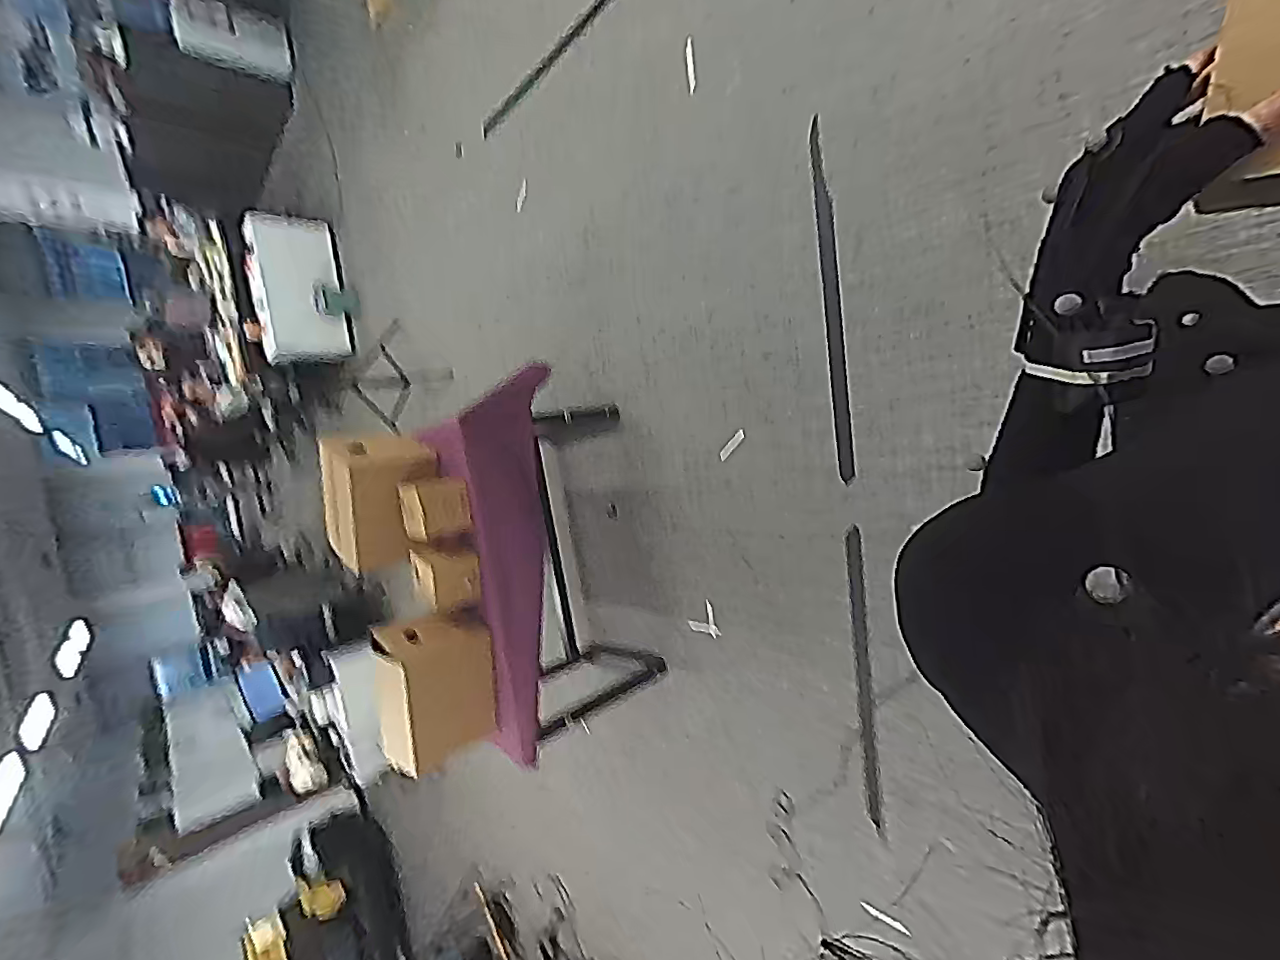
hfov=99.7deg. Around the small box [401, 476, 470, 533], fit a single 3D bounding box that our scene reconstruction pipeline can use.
[{"bbox_3d":[-0.695,0.077,1.852,0.179,0.176,0.168,0,98,47],"label":"small box"}]
